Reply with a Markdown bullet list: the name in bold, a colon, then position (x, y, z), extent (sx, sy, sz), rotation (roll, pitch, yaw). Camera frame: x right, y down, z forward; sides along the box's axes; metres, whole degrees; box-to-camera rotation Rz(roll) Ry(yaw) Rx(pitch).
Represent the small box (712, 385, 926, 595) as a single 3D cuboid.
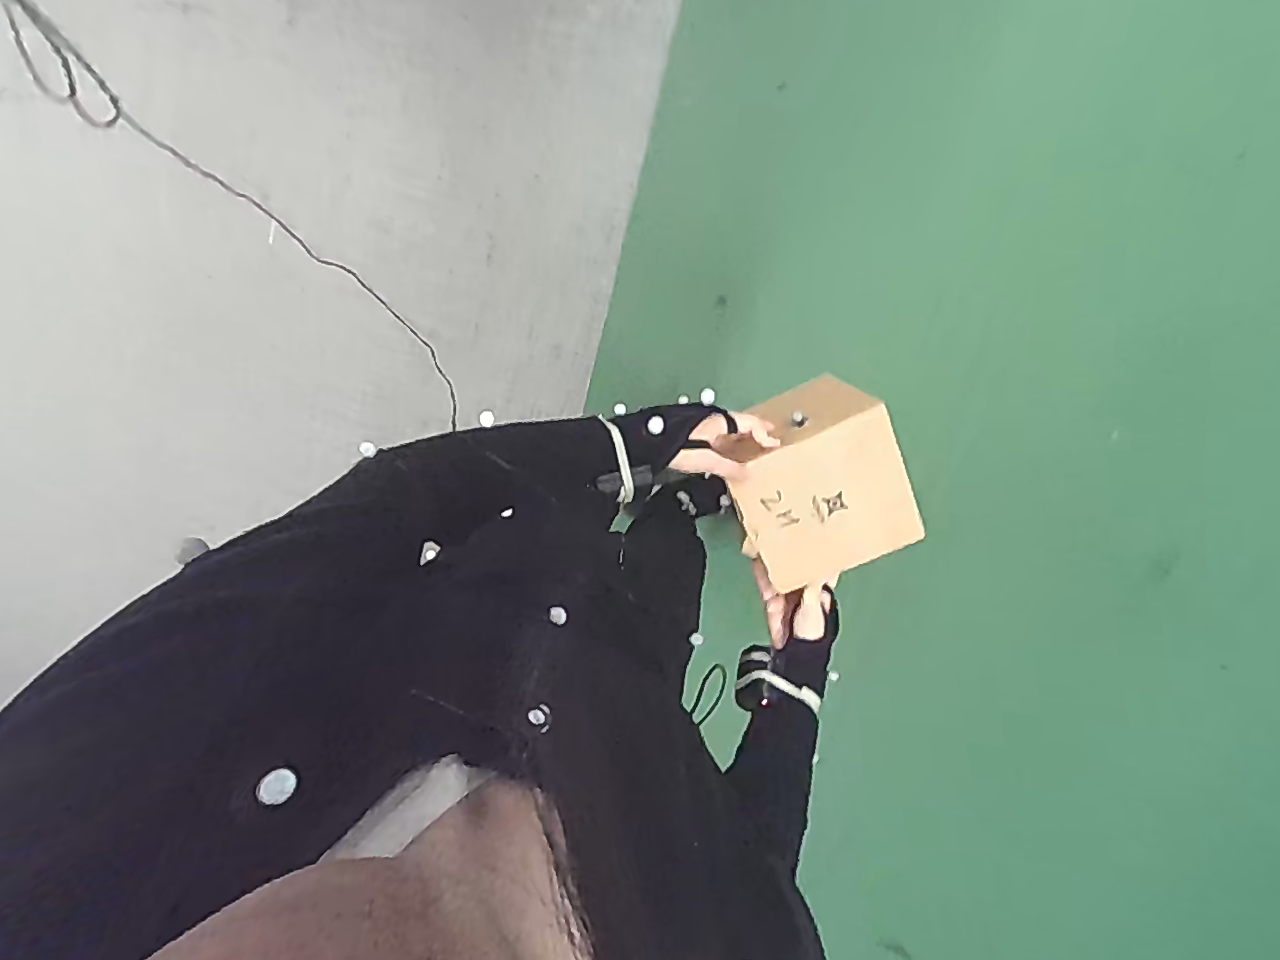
- **small box**: position (0.203, 0.002, 0.653), extent (0.179, 0.176, 0.168), rotation (-24, 108, 9)
